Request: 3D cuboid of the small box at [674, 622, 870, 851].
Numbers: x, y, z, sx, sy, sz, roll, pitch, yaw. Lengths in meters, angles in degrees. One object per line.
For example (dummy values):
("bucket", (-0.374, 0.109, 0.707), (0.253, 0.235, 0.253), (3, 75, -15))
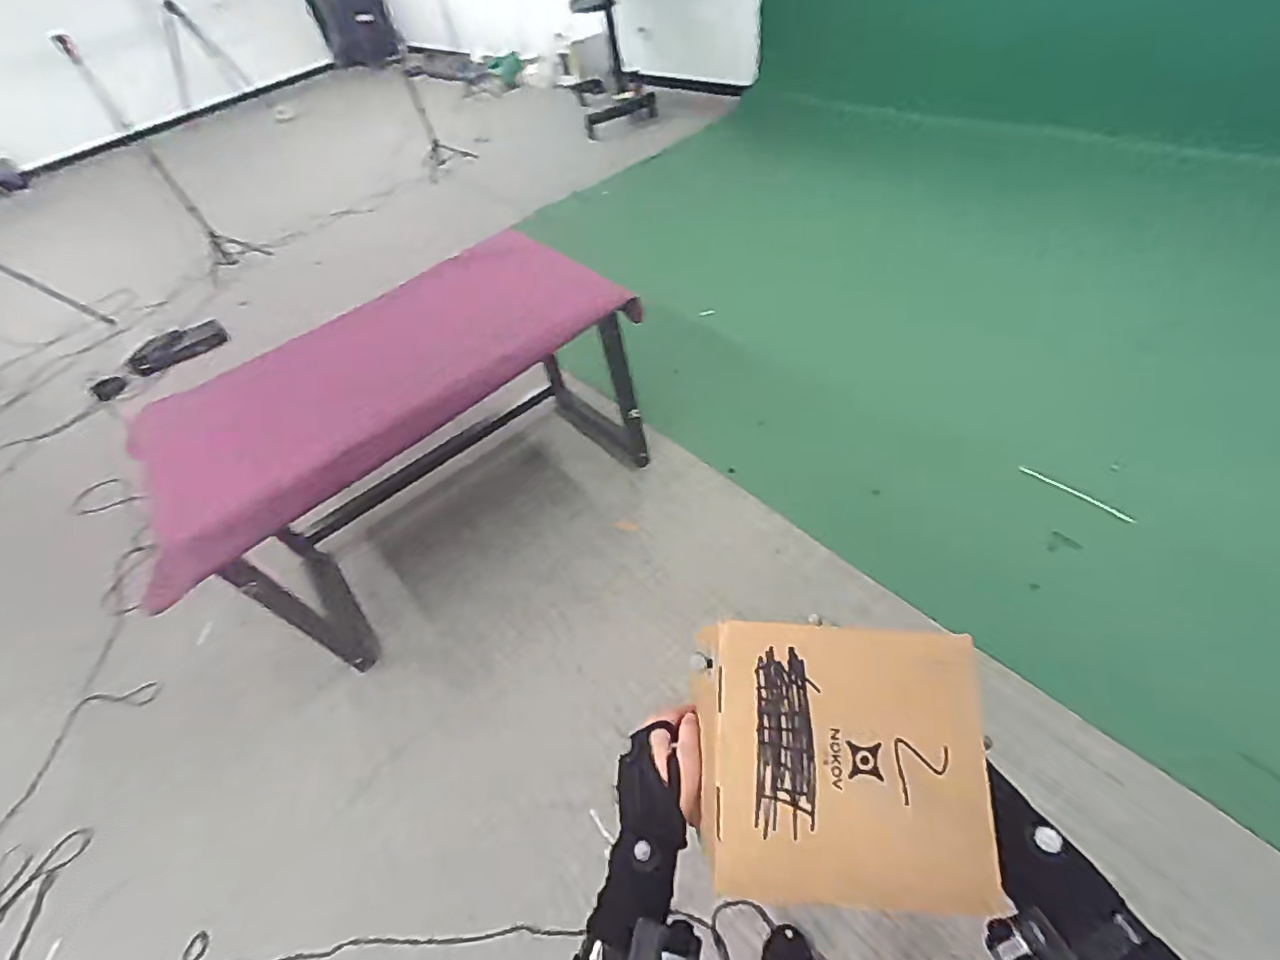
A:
("small box", (0.131, 0.260, 0.582), (0.168, 0.176, 0.179), (9, 71, 3))
